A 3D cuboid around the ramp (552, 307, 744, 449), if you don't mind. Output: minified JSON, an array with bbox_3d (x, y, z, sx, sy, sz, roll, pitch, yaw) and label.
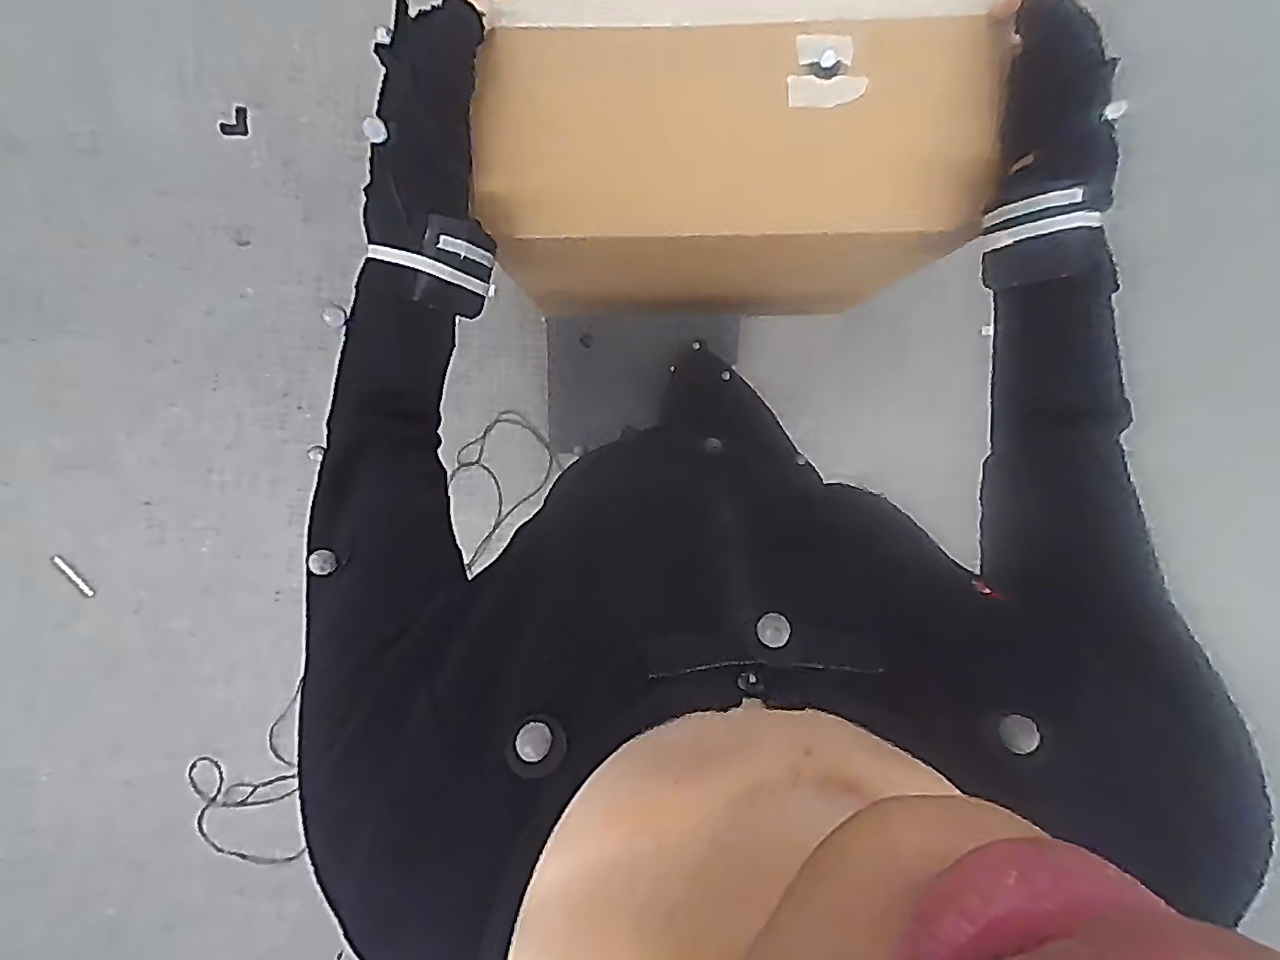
[{"bbox_3d":[0.024,-0.563,1.333,0.509,0.206,0.991,-1,97,-2],"label":"ramp"}]

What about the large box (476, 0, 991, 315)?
[{"bbox_3d":[0.070,-0.367,0.565,0.408,0.320,0.320,-1,96,0],"label":"large box"}]
